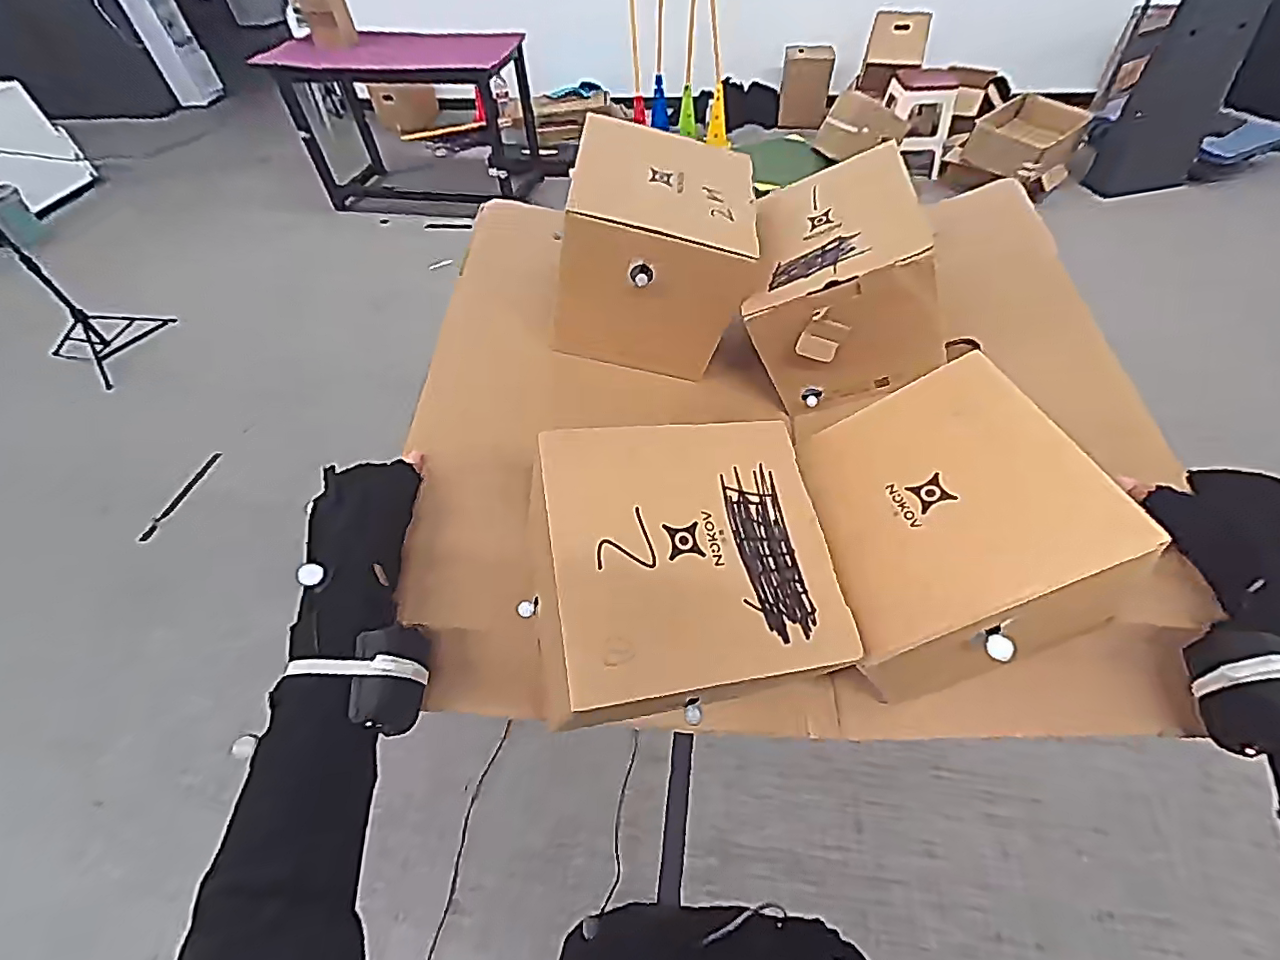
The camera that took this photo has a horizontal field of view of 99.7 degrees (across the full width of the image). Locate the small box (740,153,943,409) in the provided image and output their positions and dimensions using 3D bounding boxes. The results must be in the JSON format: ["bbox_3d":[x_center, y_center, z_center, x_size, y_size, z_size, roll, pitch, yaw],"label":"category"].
[{"bbox_3d":[0.215,-0.196,0.584,0.168,0.176,0.179,-13,54,26],"label":"small box"}]
